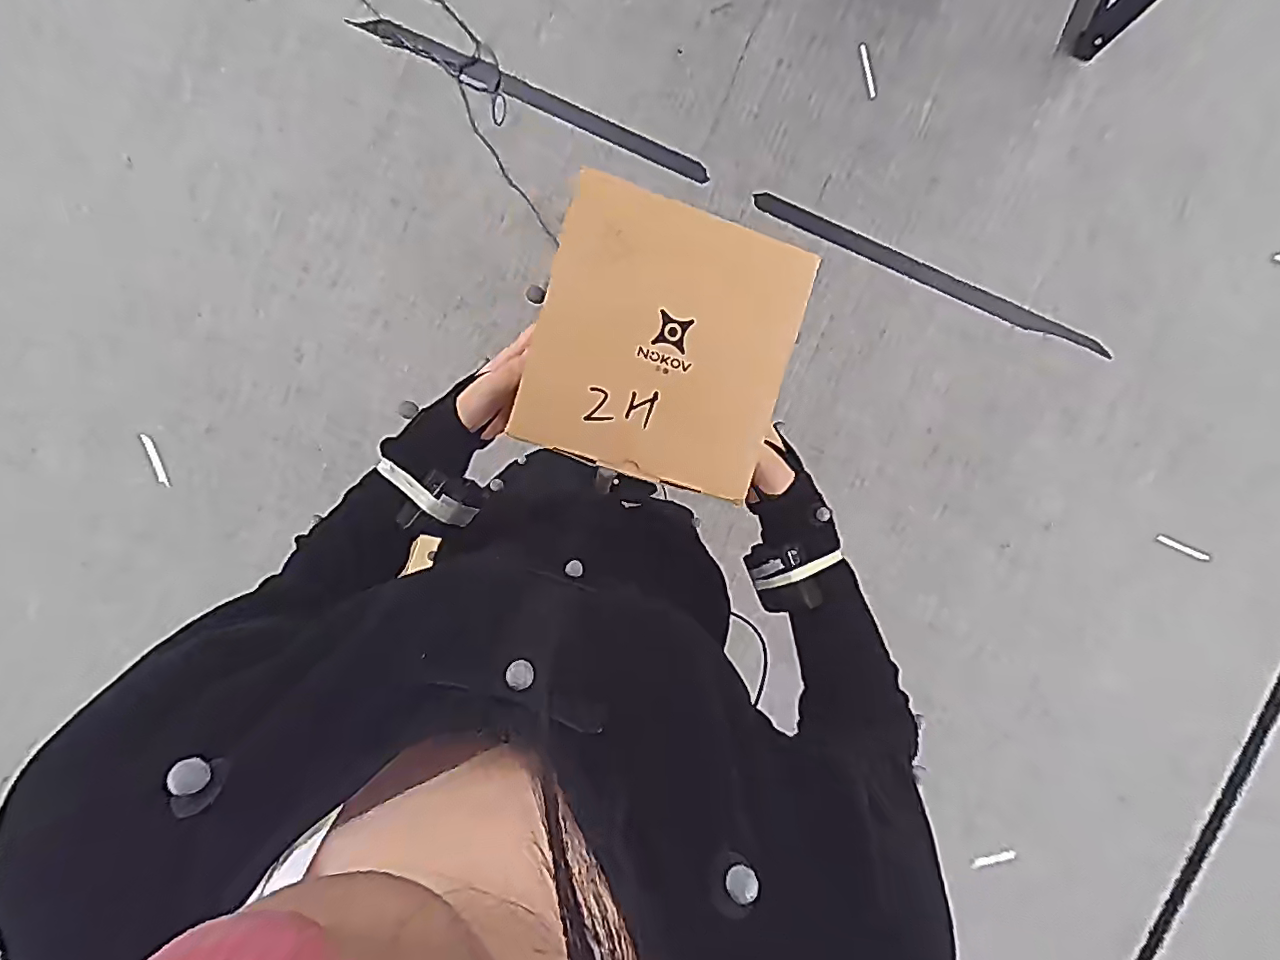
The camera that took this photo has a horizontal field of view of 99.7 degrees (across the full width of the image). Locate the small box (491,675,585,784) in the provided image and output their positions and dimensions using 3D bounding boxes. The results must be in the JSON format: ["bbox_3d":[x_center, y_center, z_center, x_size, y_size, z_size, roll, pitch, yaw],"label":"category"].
[{"bbox_3d":[-0.259,0.648,1.428,0.179,0.176,0.168,31,92,-3],"label":"small box"}]

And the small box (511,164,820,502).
[{"bbox_3d":[0.007,-0.098,0.426,0.168,0.176,0.179,17,94,-9],"label":"small box"}]
